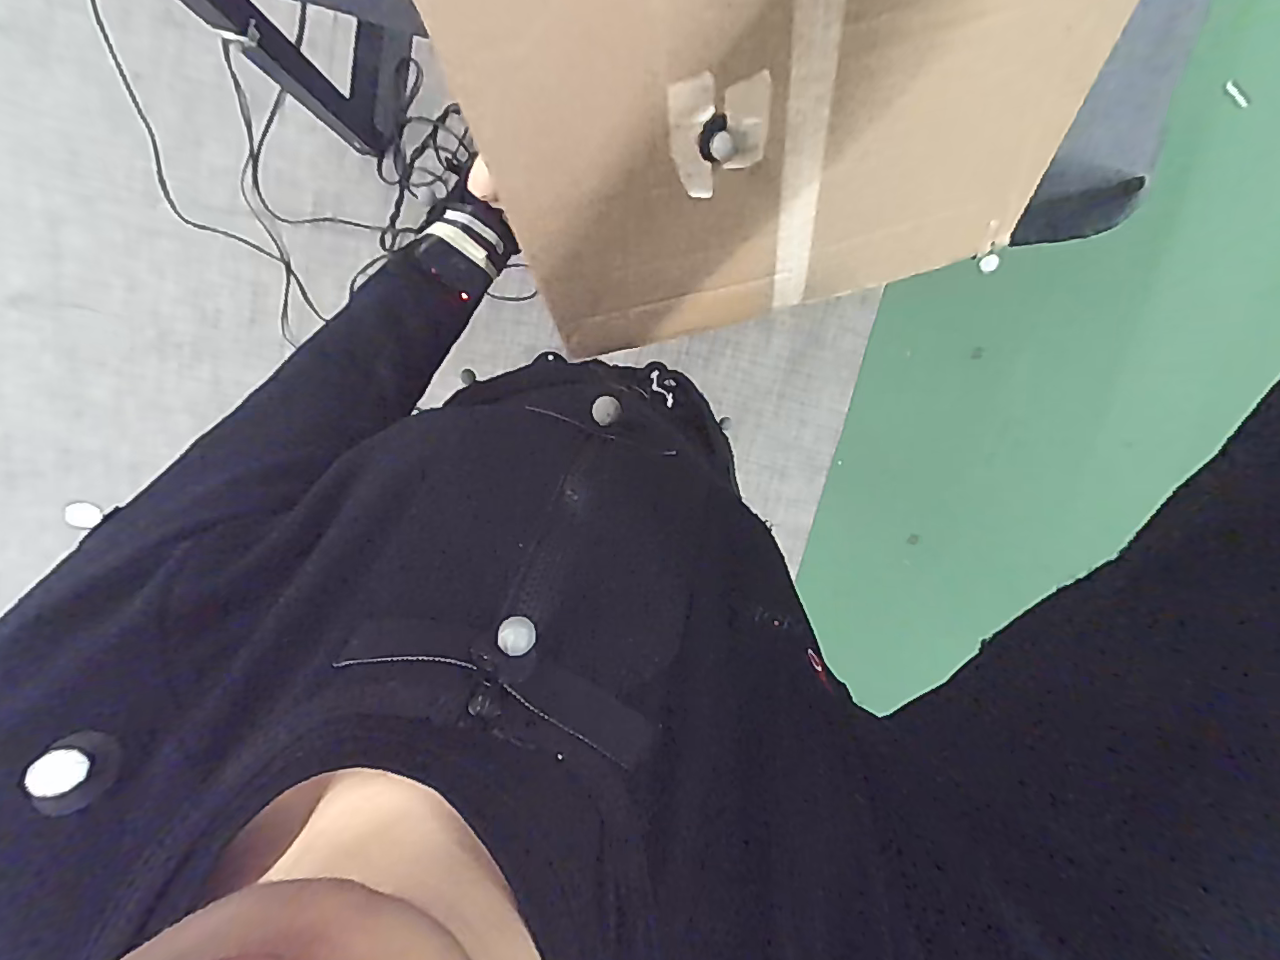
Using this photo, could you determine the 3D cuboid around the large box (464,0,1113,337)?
[{"bbox_3d":[0.046,-0.357,0.282,0.320,0.408,0.320,-15,64,3],"label":"large box"}]
